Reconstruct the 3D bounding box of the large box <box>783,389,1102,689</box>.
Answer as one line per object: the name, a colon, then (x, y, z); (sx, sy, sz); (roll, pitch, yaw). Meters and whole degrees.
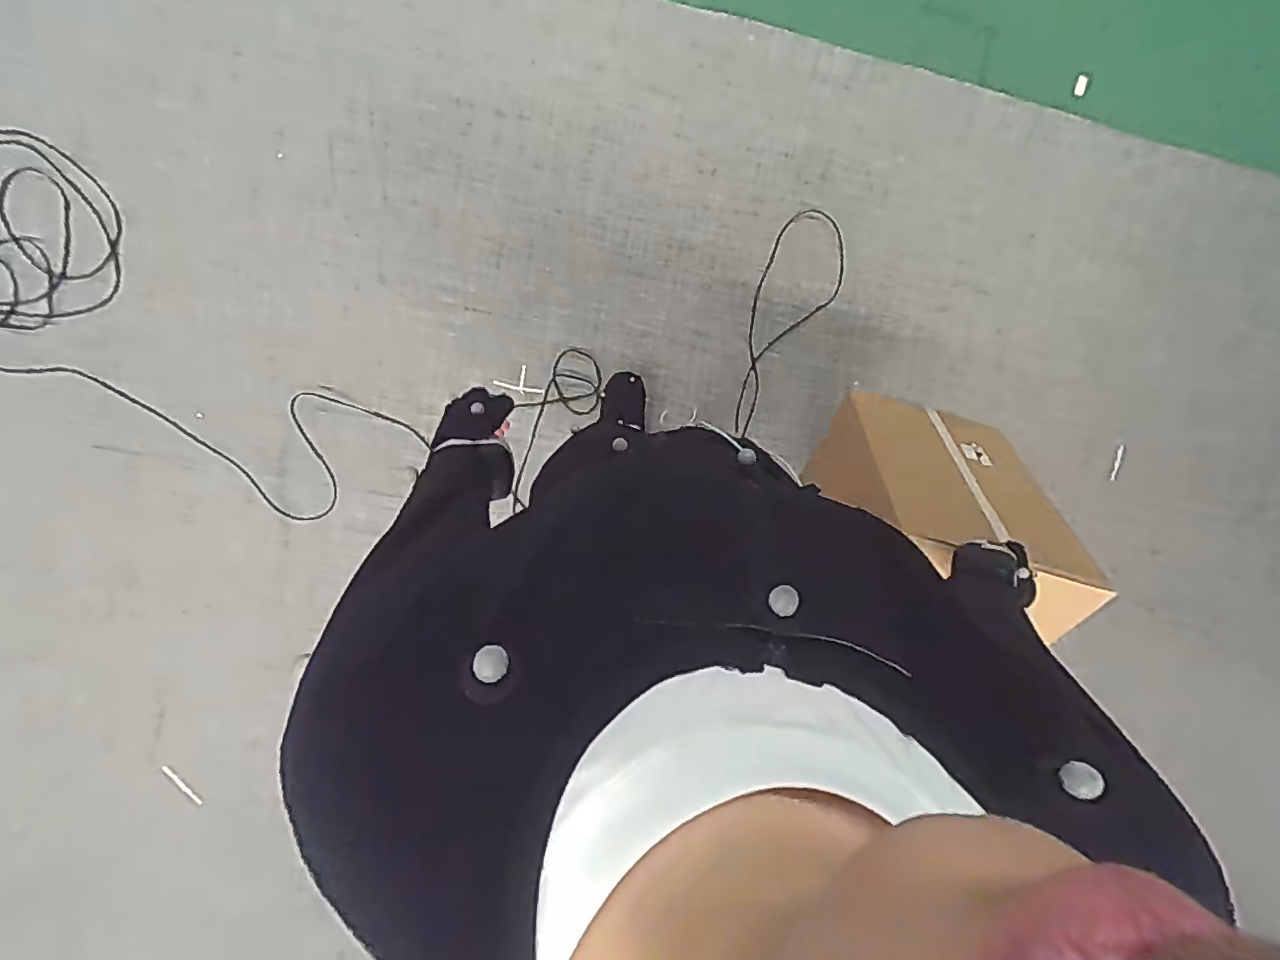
large box: (0.477, 0.097, 0.977); (0.320, 0.408, 0.320); (16, 128, -4)
